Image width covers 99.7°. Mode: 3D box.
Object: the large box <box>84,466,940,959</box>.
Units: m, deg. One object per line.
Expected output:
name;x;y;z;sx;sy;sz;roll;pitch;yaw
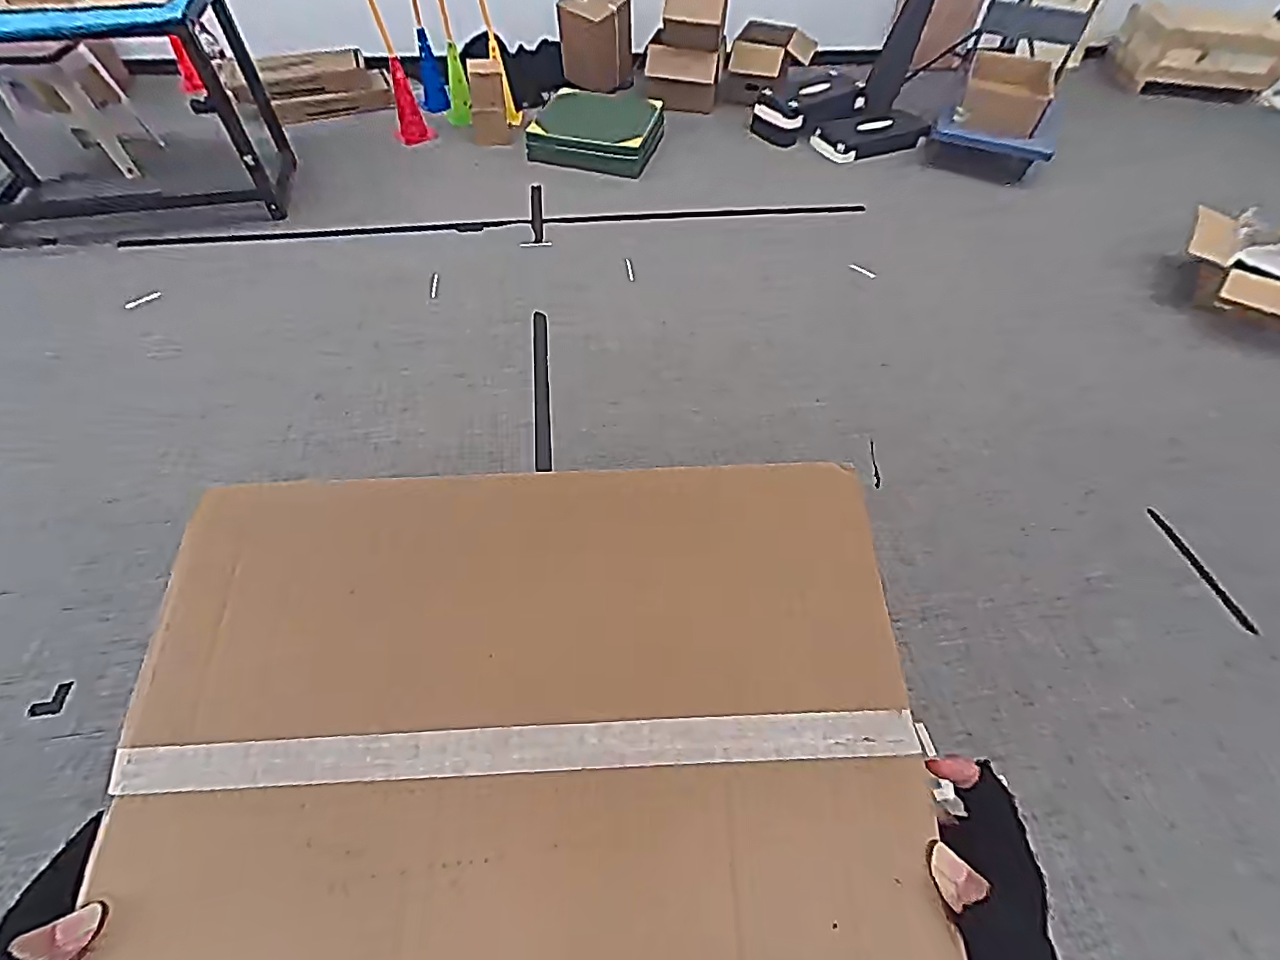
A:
large box;-0.064;0.201;0.425;0.408;0.320;0.320;-2;67;-1
